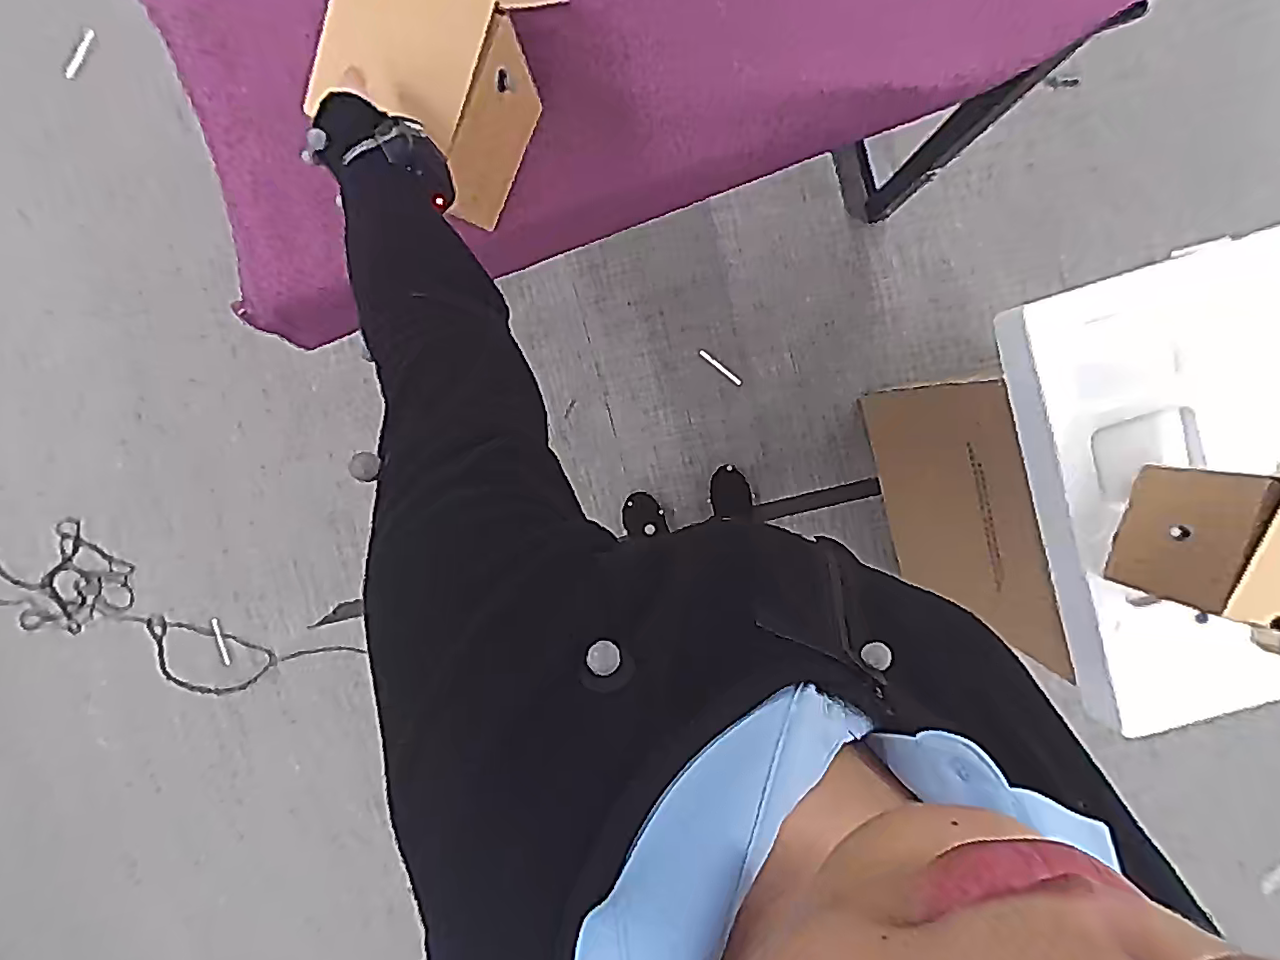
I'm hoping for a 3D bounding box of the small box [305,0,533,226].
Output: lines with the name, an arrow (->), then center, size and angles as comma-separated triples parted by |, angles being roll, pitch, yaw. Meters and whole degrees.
small box -> -0.242, -0.441, 0.640 | 0.168, 0.176, 0.179 | 24, 95, 1
